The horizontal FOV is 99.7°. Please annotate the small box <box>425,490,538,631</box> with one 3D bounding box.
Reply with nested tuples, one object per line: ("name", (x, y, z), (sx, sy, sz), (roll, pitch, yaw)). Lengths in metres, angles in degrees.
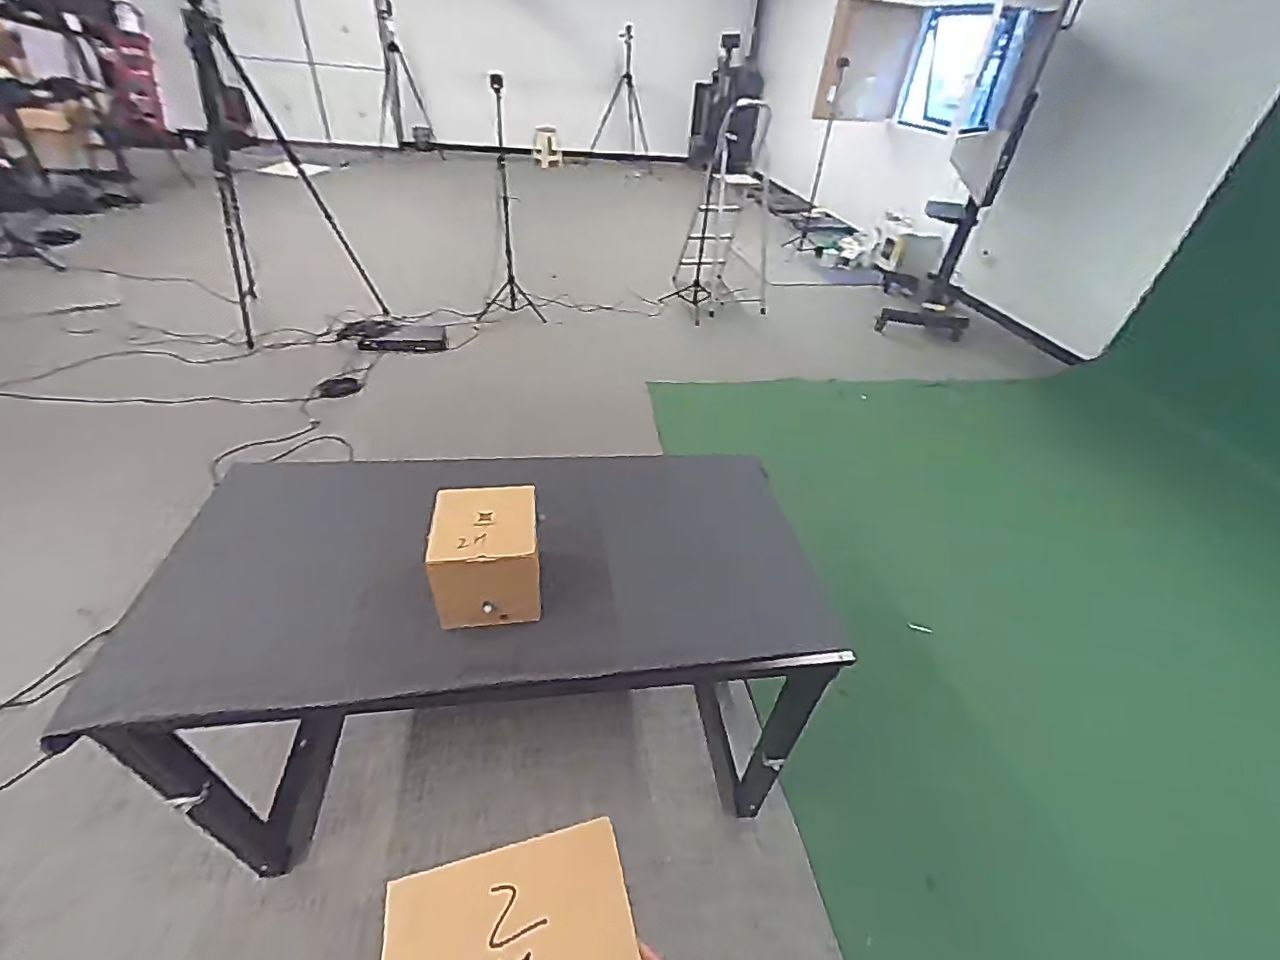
("small box", (-0.266, 0.137, 0.944), (0.168, 0.176, 0.179), (-3, 39, -10))
